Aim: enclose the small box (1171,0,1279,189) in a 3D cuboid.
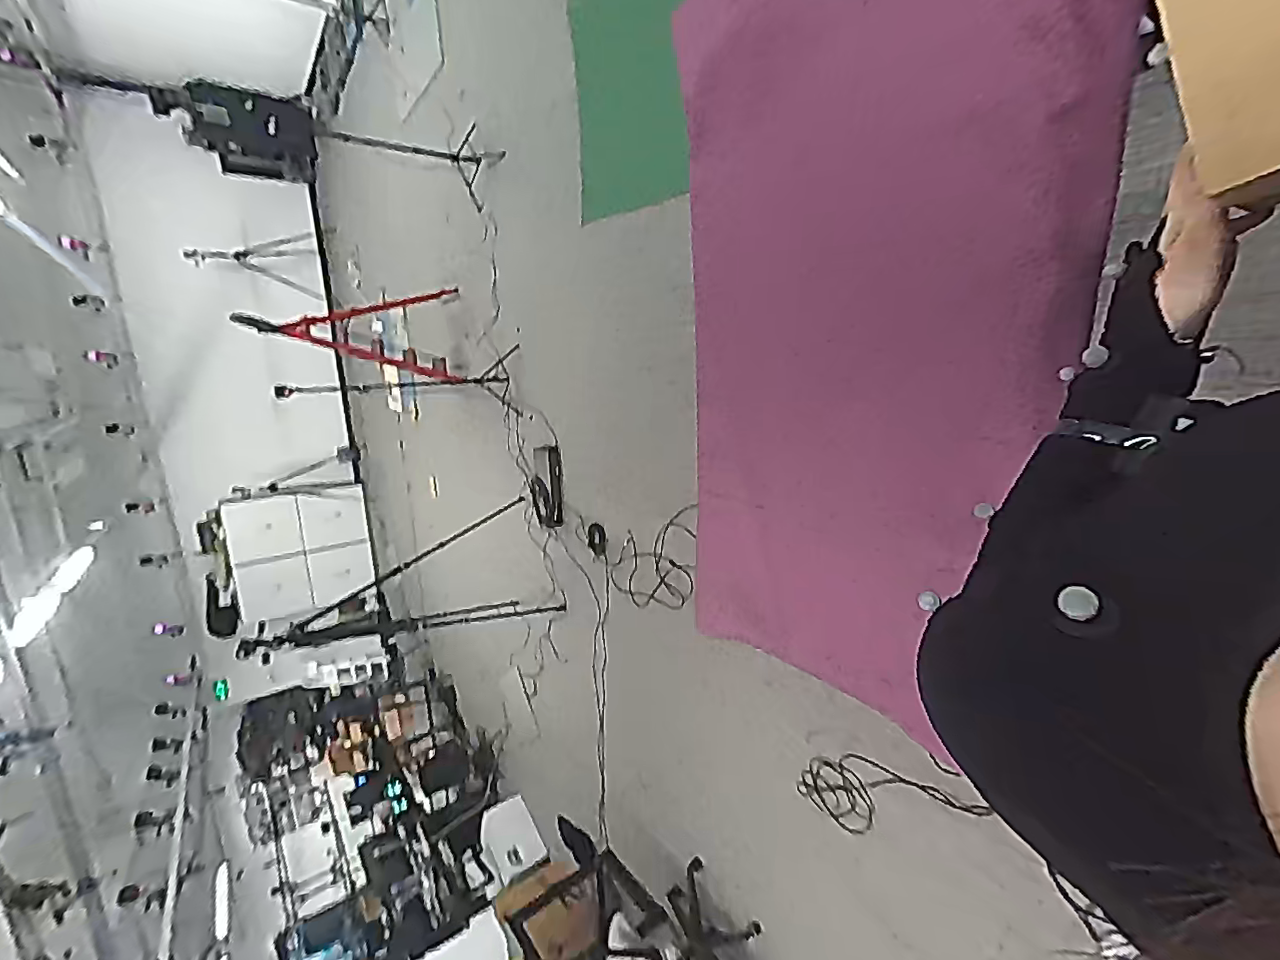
[{"bbox_3d":[0.402,-0.273,0.274,0.168,0.176,0.179,-12,95,57],"label":"small box"}]
